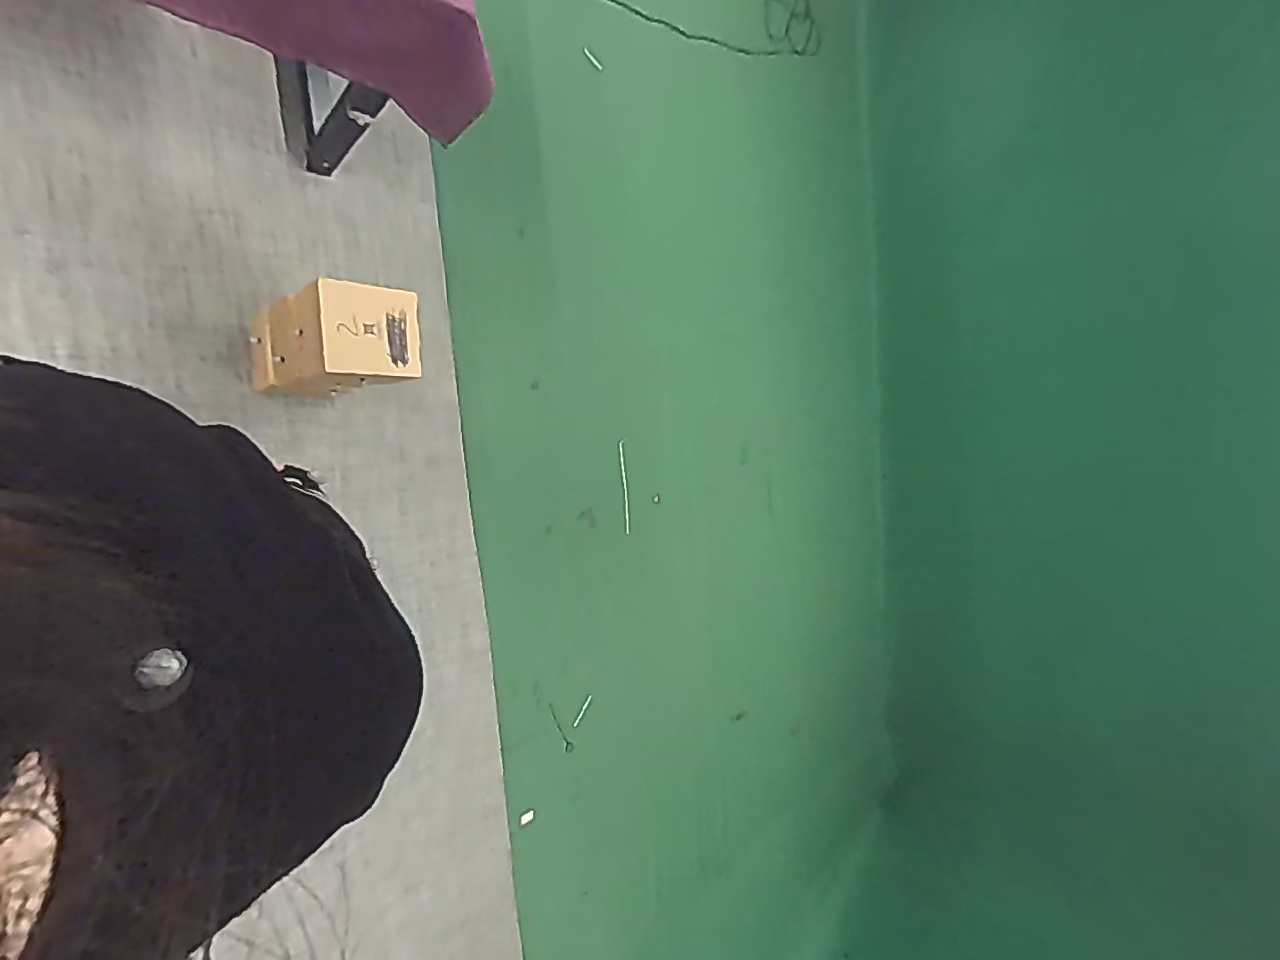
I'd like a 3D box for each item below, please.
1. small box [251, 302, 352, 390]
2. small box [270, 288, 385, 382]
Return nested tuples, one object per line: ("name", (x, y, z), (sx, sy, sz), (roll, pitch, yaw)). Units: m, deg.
("small box", (-0.801, -0.307, 1.277), (0.179, 0.176, 0.168), (-5, 95, -46))
("small box", (-0.679, -0.303, 1.169), (0.179, 0.176, 0.168), (-9, 99, -46))
